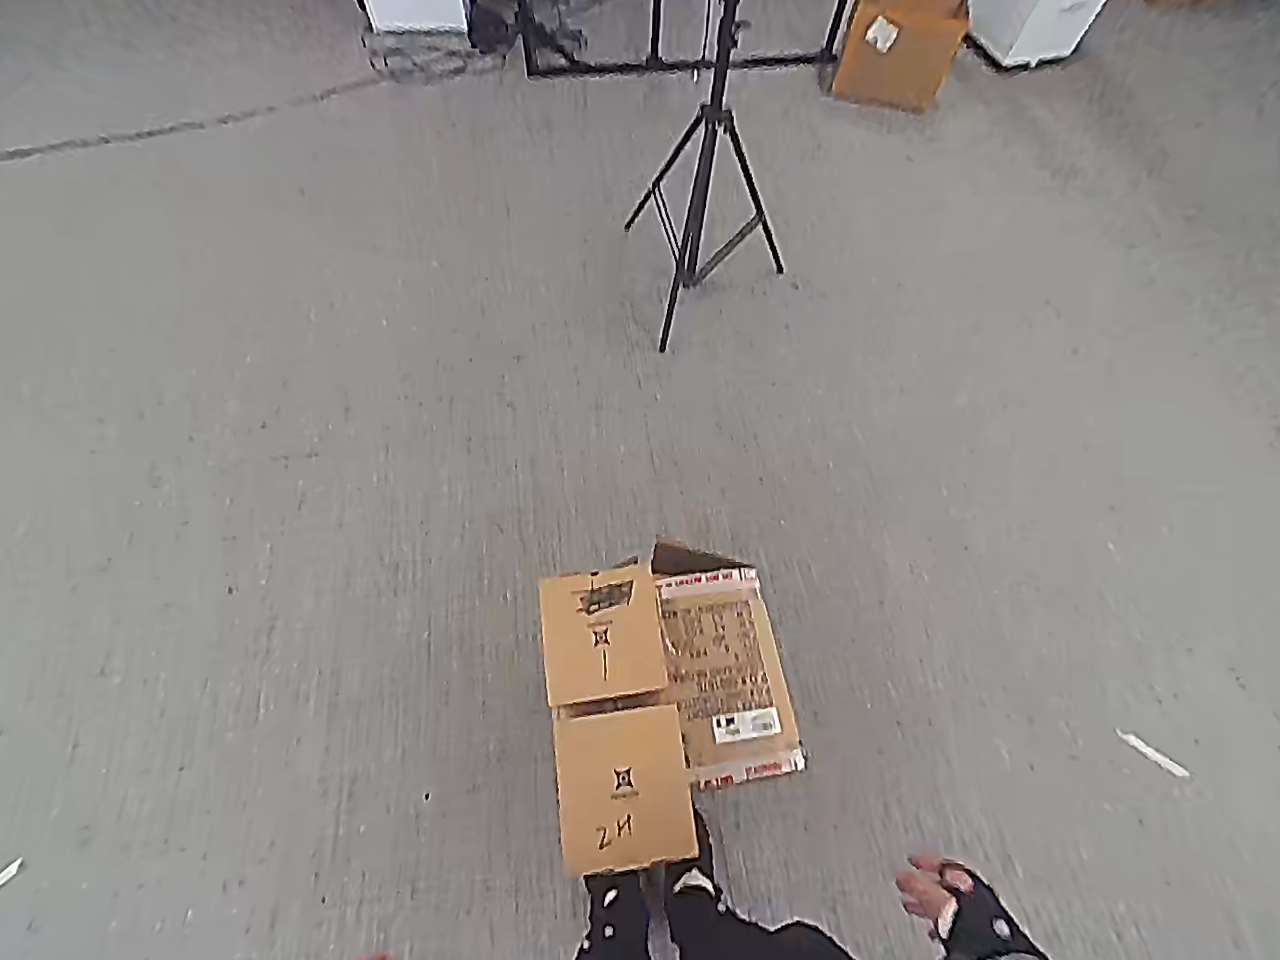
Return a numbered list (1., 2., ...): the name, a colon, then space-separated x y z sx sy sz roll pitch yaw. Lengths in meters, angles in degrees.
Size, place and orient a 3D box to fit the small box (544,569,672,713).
1. small box: -0.050 0.251 0.830 0.168 0.176 0.179 -8 67 -4
